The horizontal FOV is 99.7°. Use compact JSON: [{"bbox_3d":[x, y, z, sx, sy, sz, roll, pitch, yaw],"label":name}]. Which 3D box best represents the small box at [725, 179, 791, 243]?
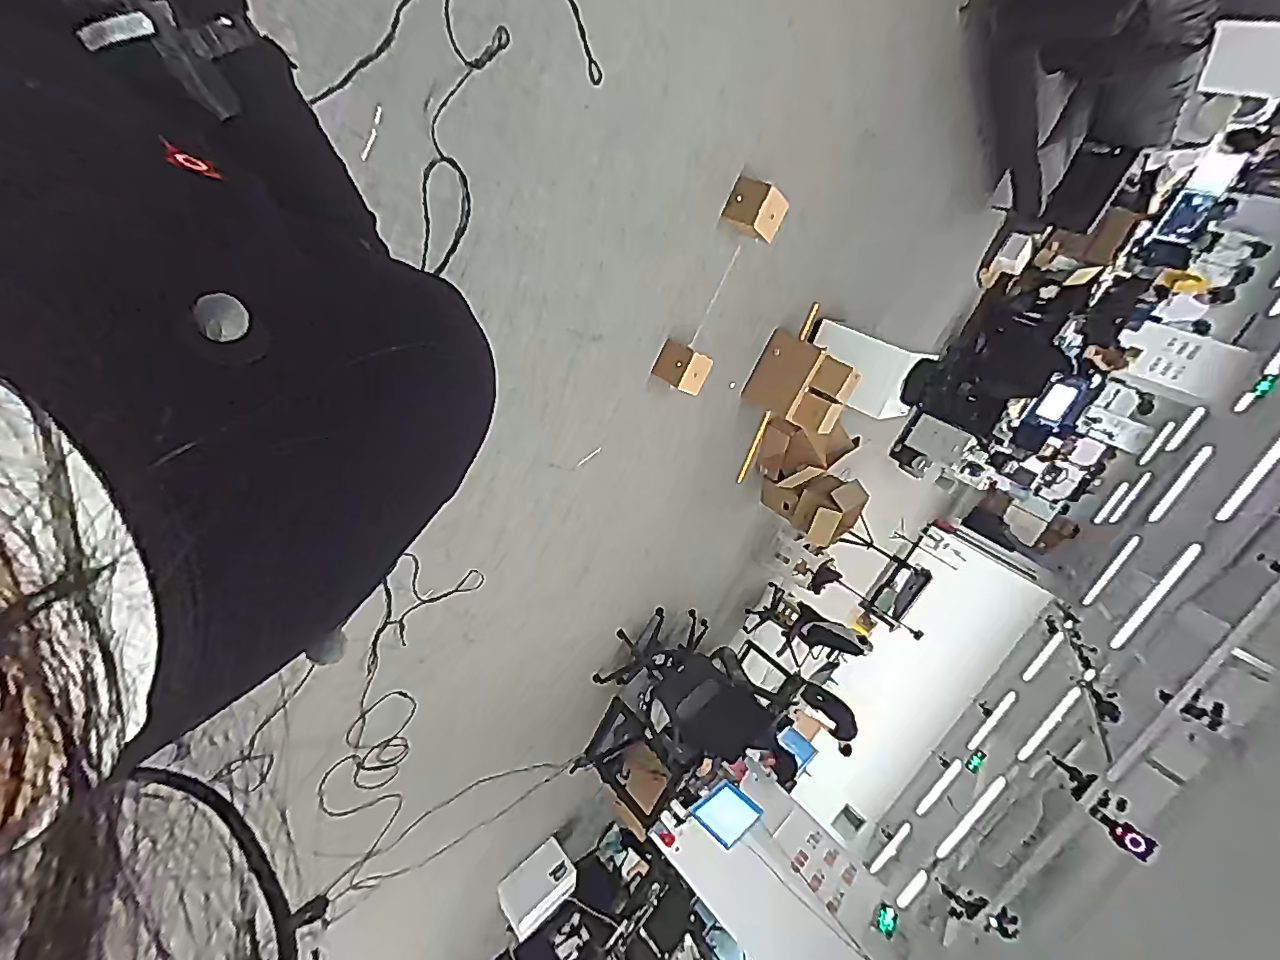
[{"bbox_3d":[0.477,-1.095,2.196,0.179,0.176,0.168,4,116,-53],"label":"small box"}]

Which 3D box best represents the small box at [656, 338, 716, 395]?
[{"bbox_3d":[0.196,-0.501,2.392,0.168,0.176,0.179,5,116,-53],"label":"small box"}]
